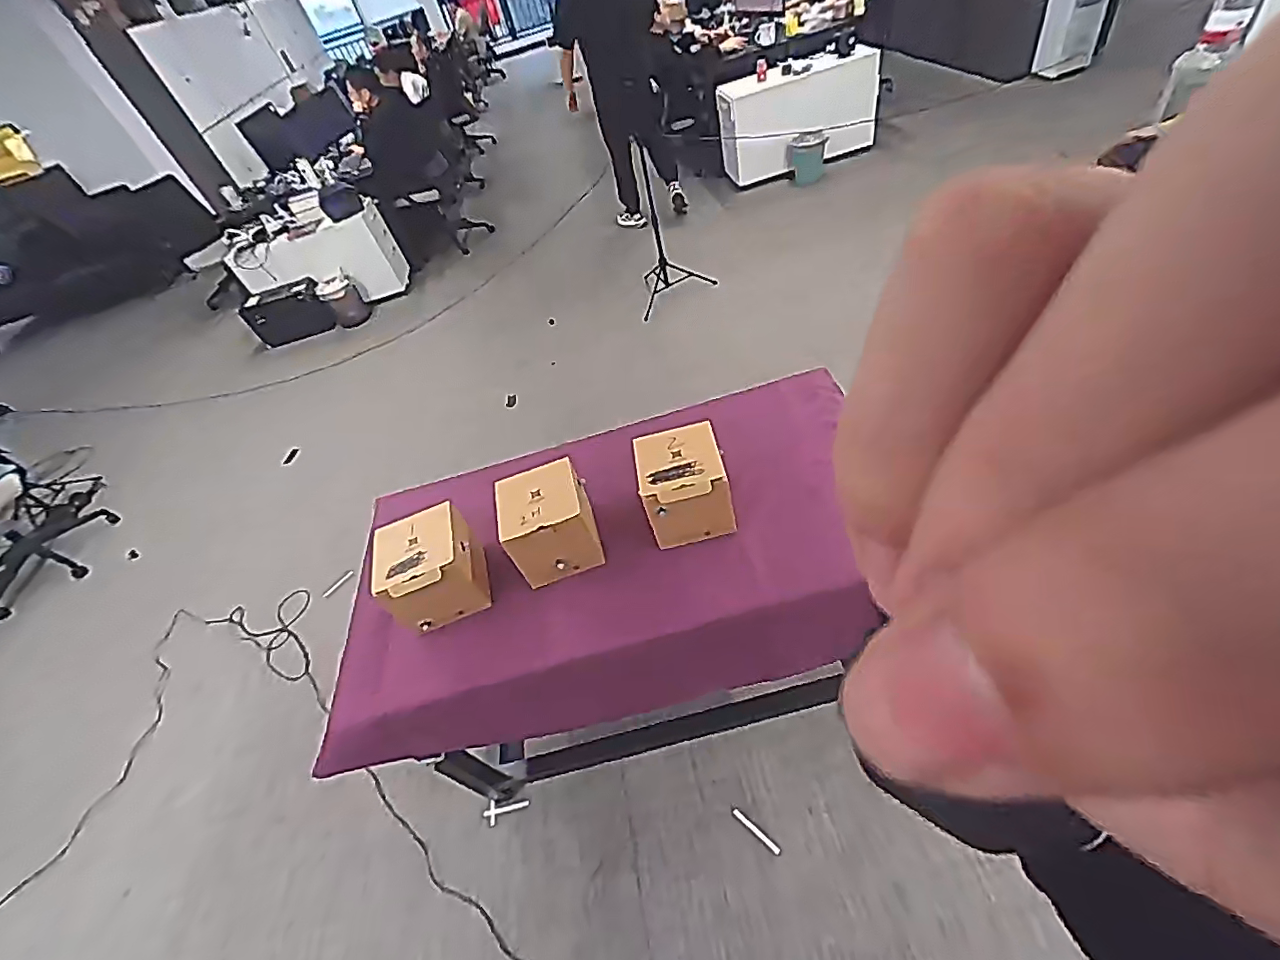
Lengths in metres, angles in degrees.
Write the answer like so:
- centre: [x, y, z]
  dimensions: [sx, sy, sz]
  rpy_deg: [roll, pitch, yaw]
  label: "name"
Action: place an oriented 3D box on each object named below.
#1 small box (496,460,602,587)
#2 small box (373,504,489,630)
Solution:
- centre: [-0.190, 0.093, 1.136]
  dimensions: [0.168, 0.176, 0.179]
  rpy_deg: [-20, 46, 0]
  label: "small box"
- centre: [-0.429, 0.188, 1.123]
  dimensions: [0.168, 0.176, 0.179]
  rpy_deg: [-22, 45, -4]
  label: "small box"
